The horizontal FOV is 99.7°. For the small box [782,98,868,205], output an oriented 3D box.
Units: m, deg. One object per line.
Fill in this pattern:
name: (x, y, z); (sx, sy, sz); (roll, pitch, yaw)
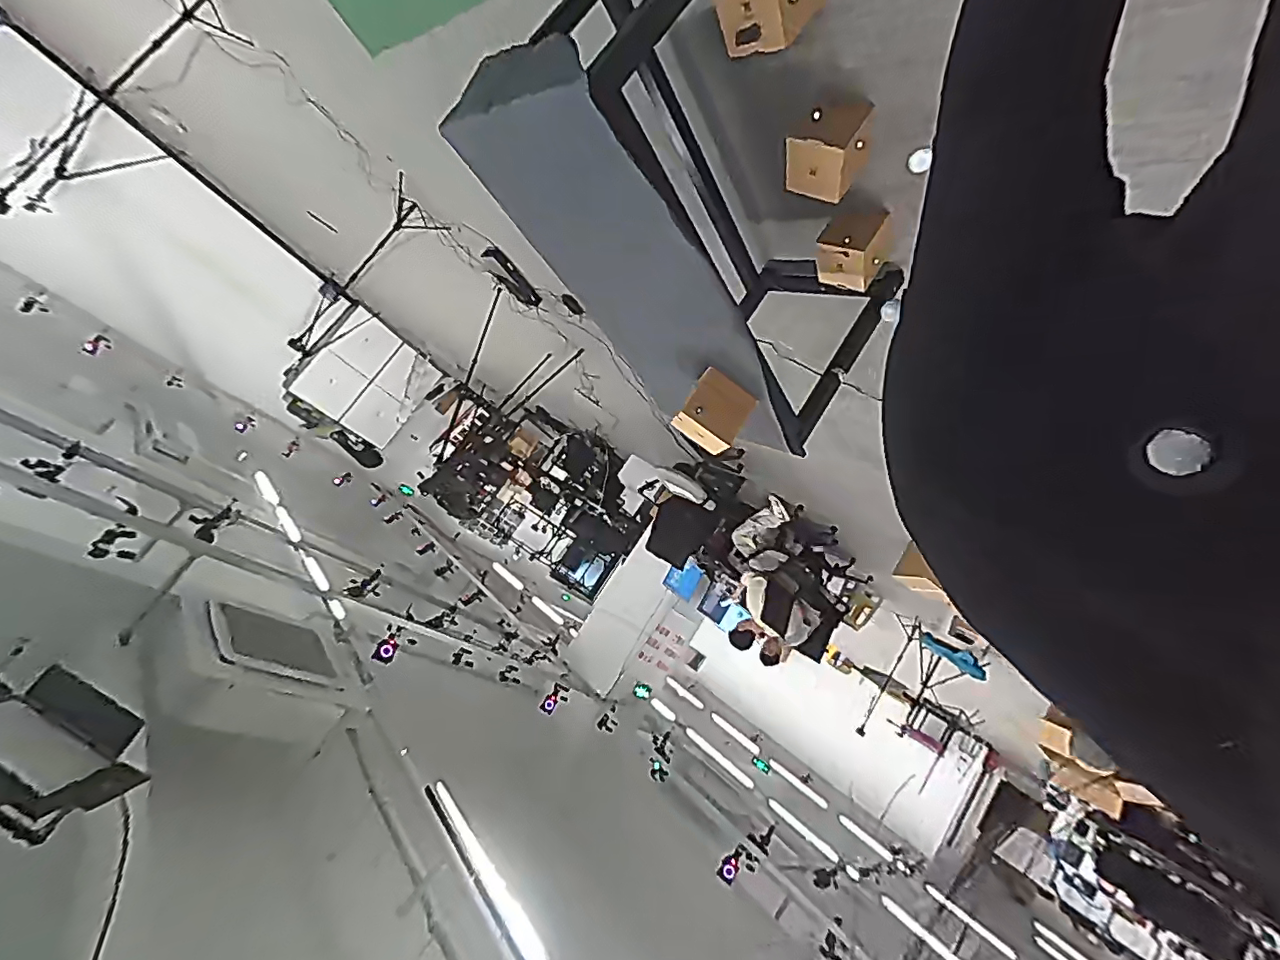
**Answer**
small box: (0.508, -0.910, 1.494); (0.168, 0.176, 0.179); (30, 171, 23)

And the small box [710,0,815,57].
small box: (0.279, -1.118, 1.231); (0.168, 0.176, 0.179); (25, 166, 38)

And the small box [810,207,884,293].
small box: (0.673, -0.745, 1.751); (0.168, 0.176, 0.179); (27, 169, 31)

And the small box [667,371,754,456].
small box: (0.210, -0.196, 1.610); (0.179, 0.176, 0.168); (35, 170, -4)
